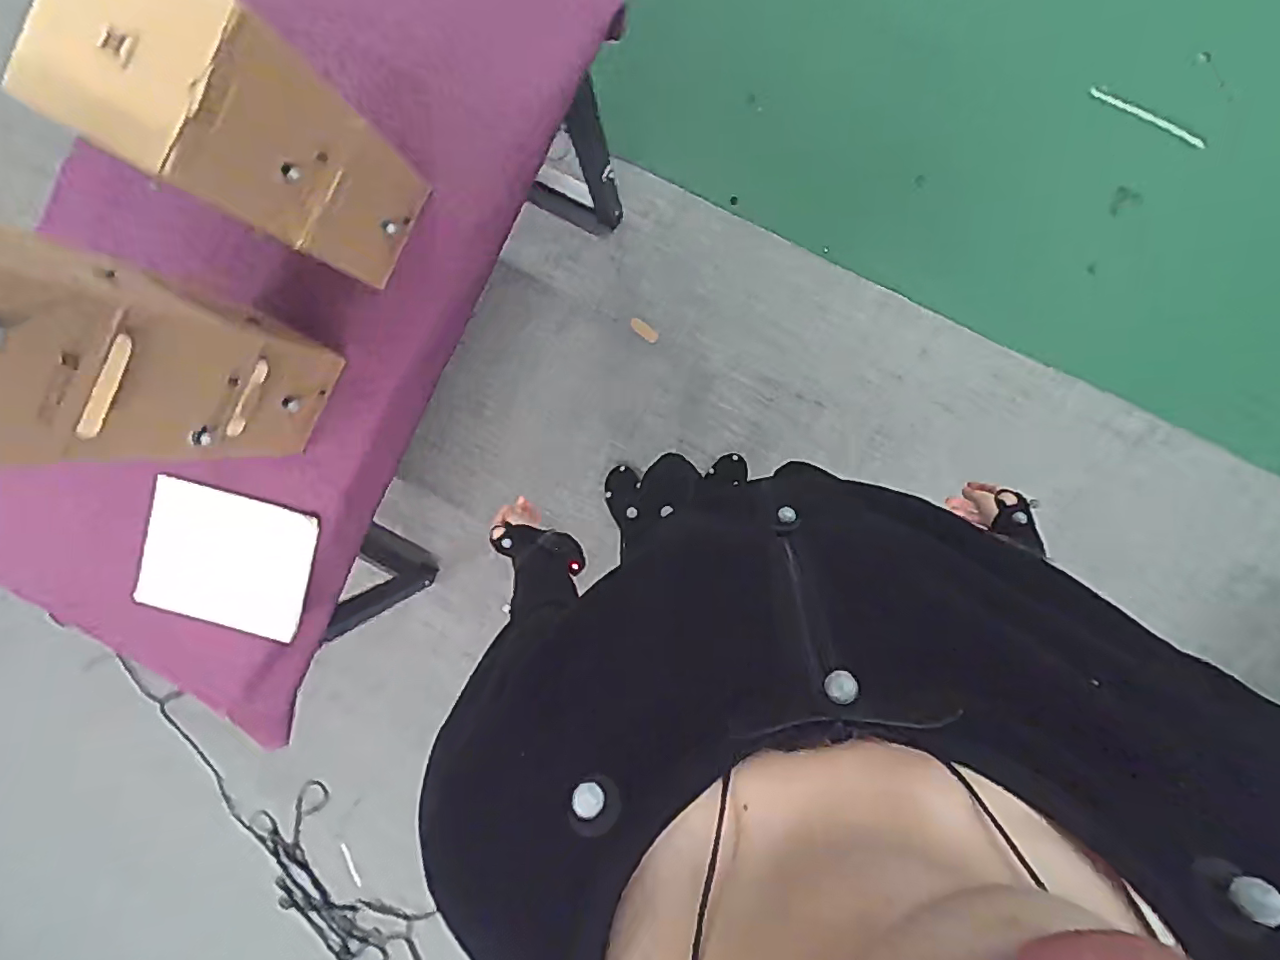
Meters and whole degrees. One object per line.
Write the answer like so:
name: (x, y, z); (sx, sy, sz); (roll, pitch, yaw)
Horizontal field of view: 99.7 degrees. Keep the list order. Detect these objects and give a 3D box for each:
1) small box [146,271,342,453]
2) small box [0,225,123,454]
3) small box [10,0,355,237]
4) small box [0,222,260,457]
small box: (-0.554, -0.150, 0.738); (0.179, 0.176, 0.168); (28, 95, 1)
small box: (-0.568, -0.126, 0.411); (0.179, 0.176, 0.168); (29, 94, 3)
small box: (-0.441, -0.382, 0.551); (0.179, 0.176, 0.168); (29, 95, 3)
small box: (-0.561, -0.138, 0.573); (0.179, 0.176, 0.168); (29, 95, 3)
